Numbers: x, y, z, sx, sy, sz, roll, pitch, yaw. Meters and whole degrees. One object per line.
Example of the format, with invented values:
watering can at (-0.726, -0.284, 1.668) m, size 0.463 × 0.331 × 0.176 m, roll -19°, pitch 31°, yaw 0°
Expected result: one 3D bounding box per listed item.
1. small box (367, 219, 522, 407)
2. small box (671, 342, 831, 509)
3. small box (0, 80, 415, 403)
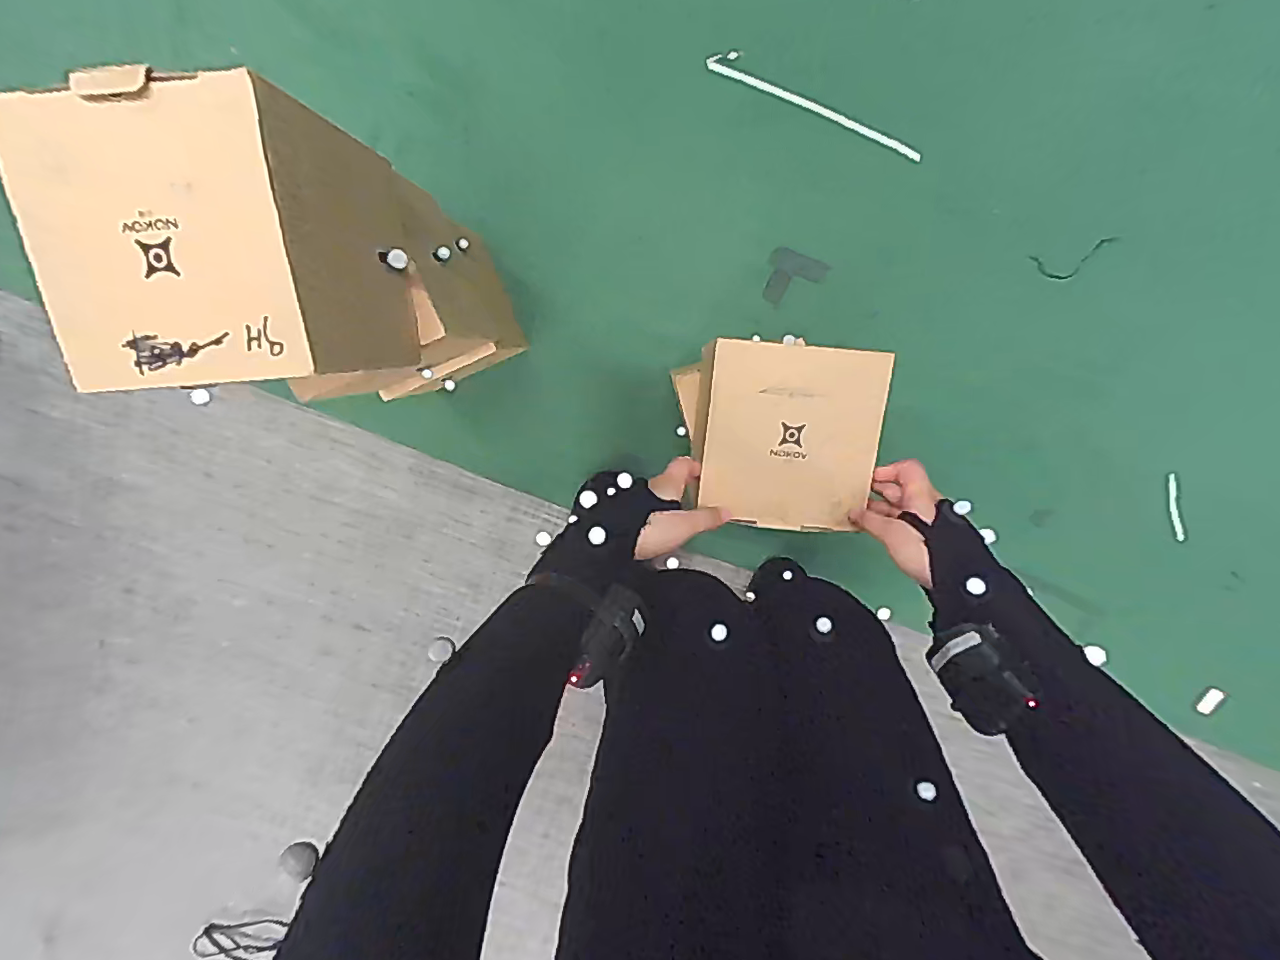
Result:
small box at (-0.282, -0.217, 0.730) m, size 0.168 × 0.176 × 0.179 m, roll -22°, pitch 102°, yaw 8°
small box at (0.142, -0.082, 0.748) m, size 0.168 × 0.176 × 0.179 m, roll -16°, pitch 104°, yaw 6°
small box at (-0.293, -0.156, 0.406) m, size 0.168 × 0.176 × 0.179 m, roll -4°, pitch 104°, yaw 3°
